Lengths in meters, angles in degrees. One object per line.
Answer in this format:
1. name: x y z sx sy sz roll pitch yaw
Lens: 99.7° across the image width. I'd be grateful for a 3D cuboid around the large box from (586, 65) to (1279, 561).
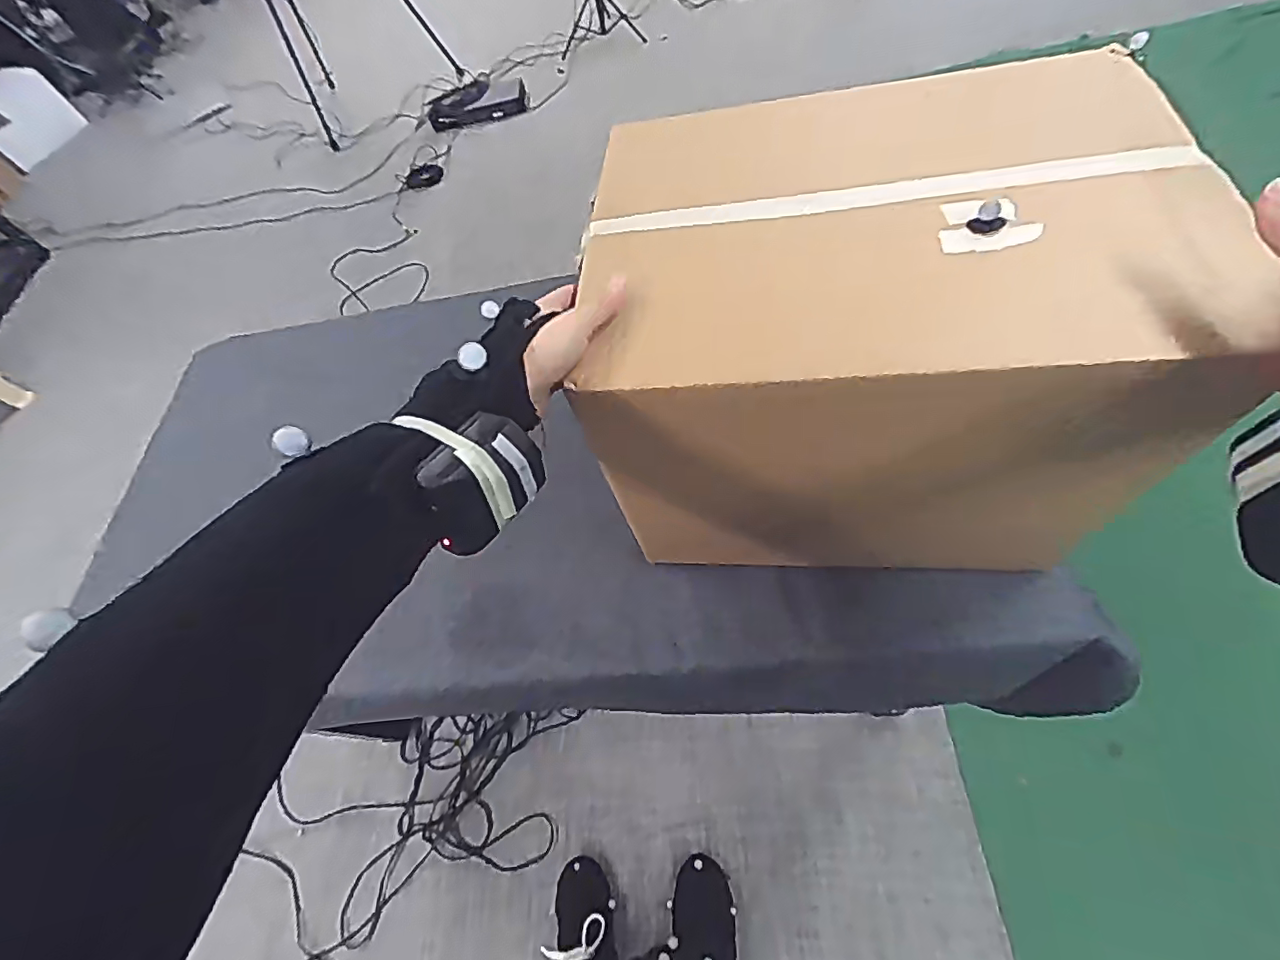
1. large box: 0.192 -0.120 0.517 0.408 0.320 0.320 0 61 11
